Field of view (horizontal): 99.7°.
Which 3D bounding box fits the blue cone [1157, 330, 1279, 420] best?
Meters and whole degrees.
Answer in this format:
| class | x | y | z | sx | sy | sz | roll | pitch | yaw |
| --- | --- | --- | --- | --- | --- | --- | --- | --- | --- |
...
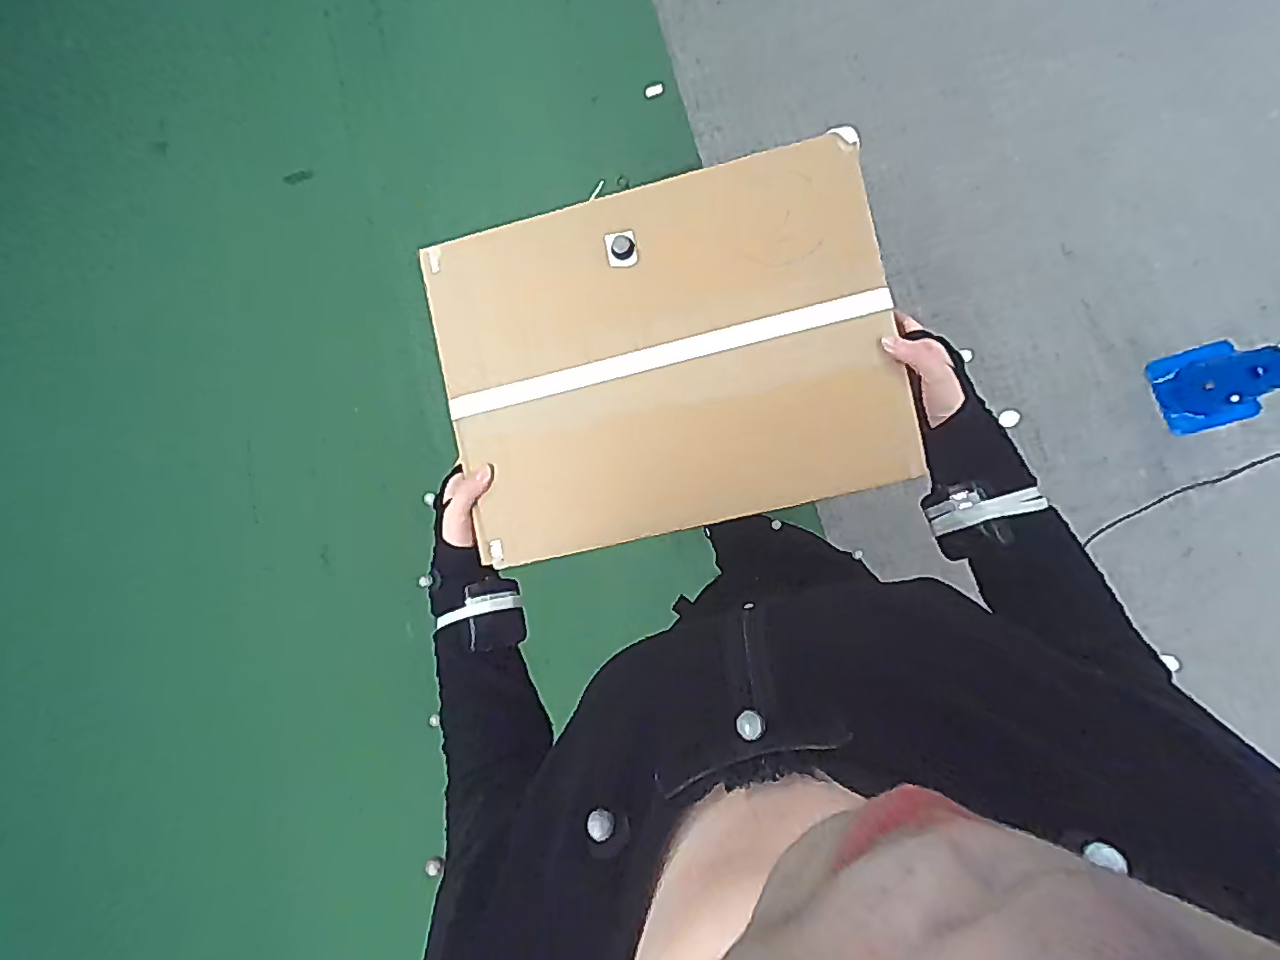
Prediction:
| class | x | y | z | sx | sy | sz | roll | pitch | yaw |
| --- | --- | --- | --- | --- | --- | --- | --- | --- | --- |
| blue cone | 1.355 | -0.269 | 1.152 | 0.192 | 0.380 | 0.193 | -20 | 81 | 7 |
